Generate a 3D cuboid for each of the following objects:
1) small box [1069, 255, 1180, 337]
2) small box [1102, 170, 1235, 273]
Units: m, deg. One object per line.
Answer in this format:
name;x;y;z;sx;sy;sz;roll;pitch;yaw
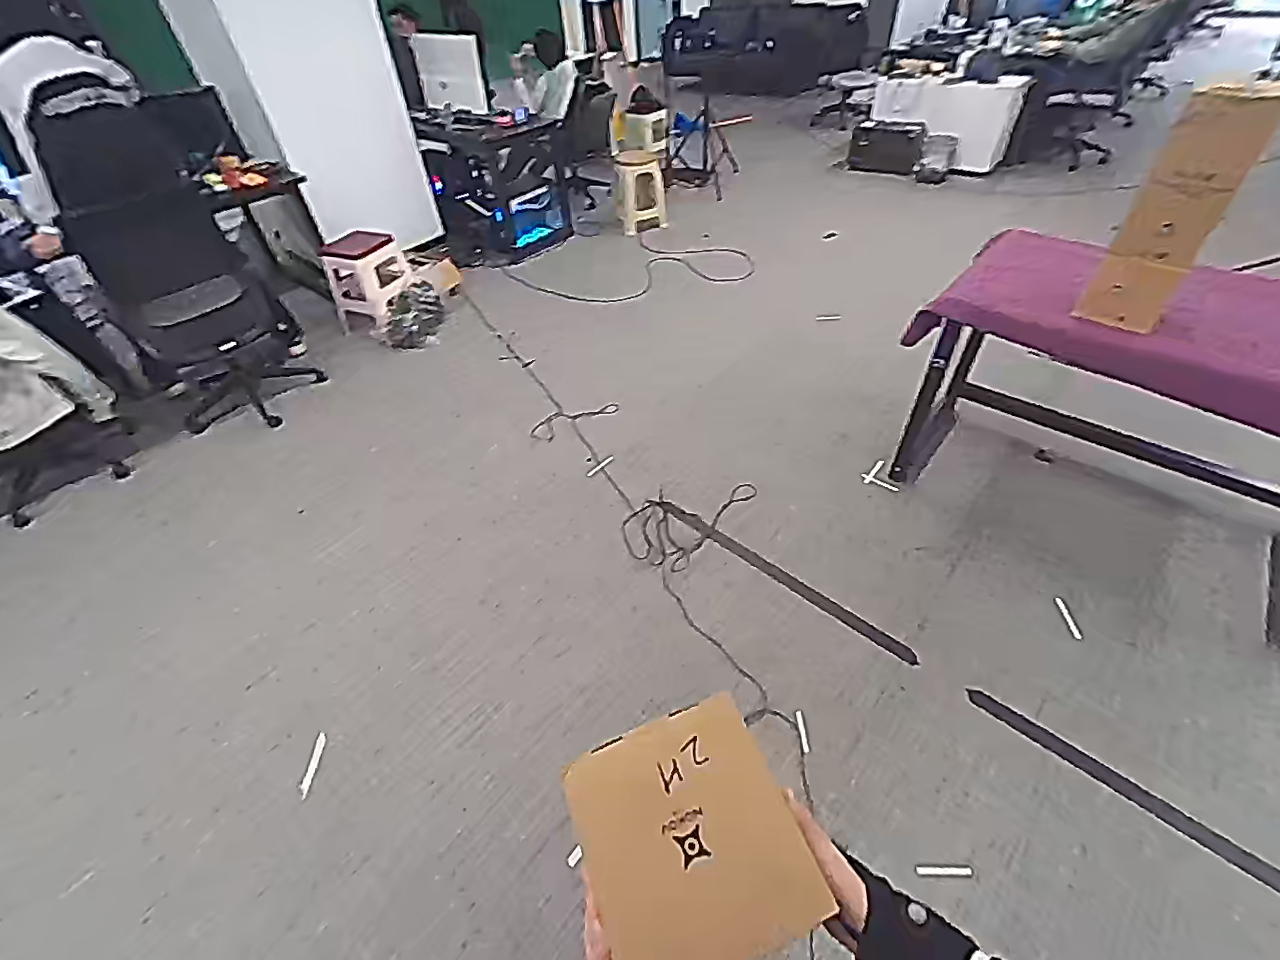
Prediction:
small box;1.258;-0.494;1.401;0.168;0.176;0.179;31;54;31
small box;1.252;-0.615;1.290;0.168;0.176;0.179;29;53;29
